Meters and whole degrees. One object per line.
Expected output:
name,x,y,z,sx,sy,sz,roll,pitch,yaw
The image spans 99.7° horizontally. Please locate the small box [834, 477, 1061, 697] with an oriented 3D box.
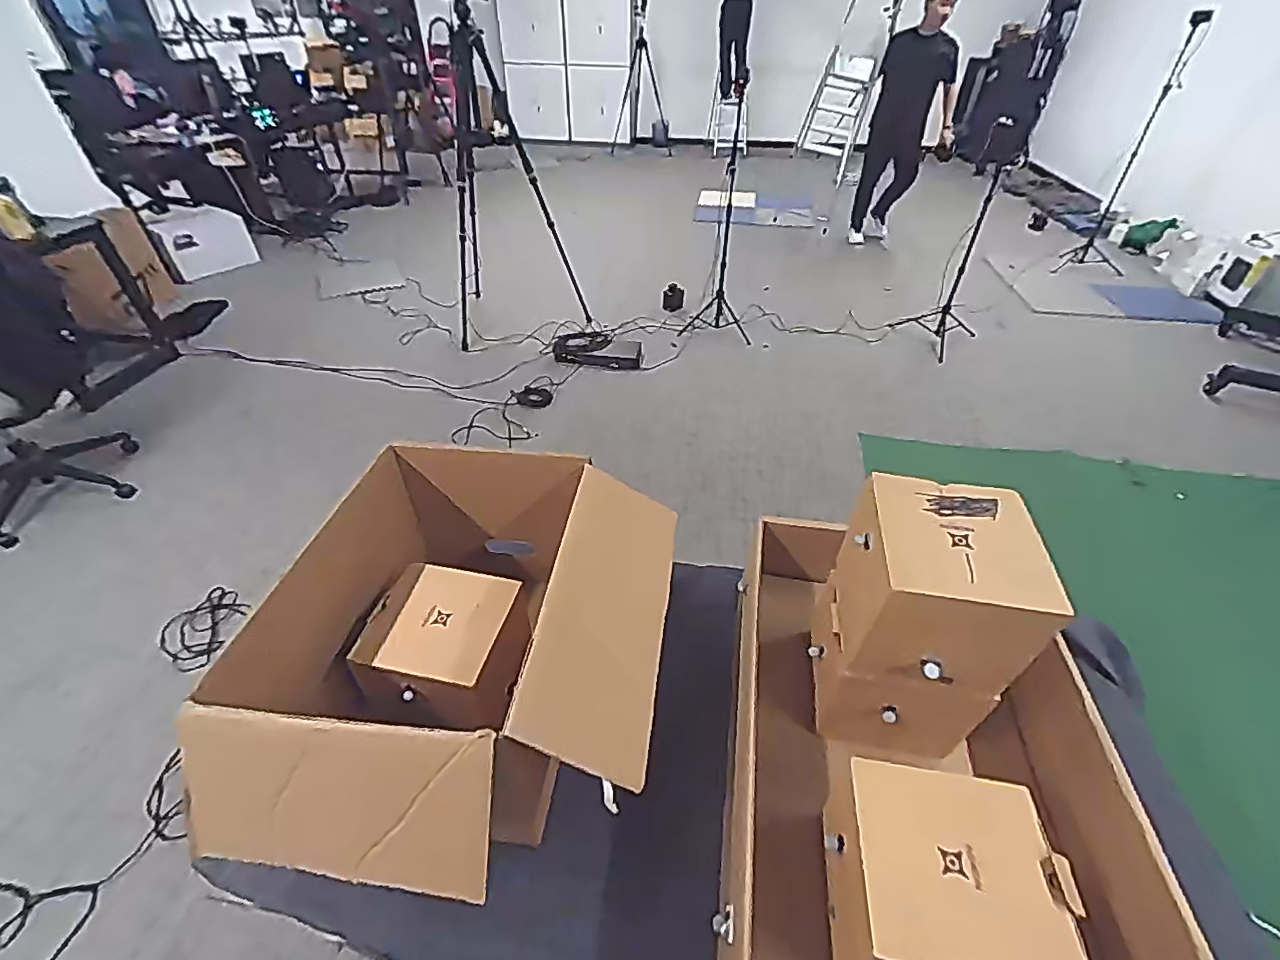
small box,0.336,0.124,0.638,0.168,0.176,0.179,8,44,8
